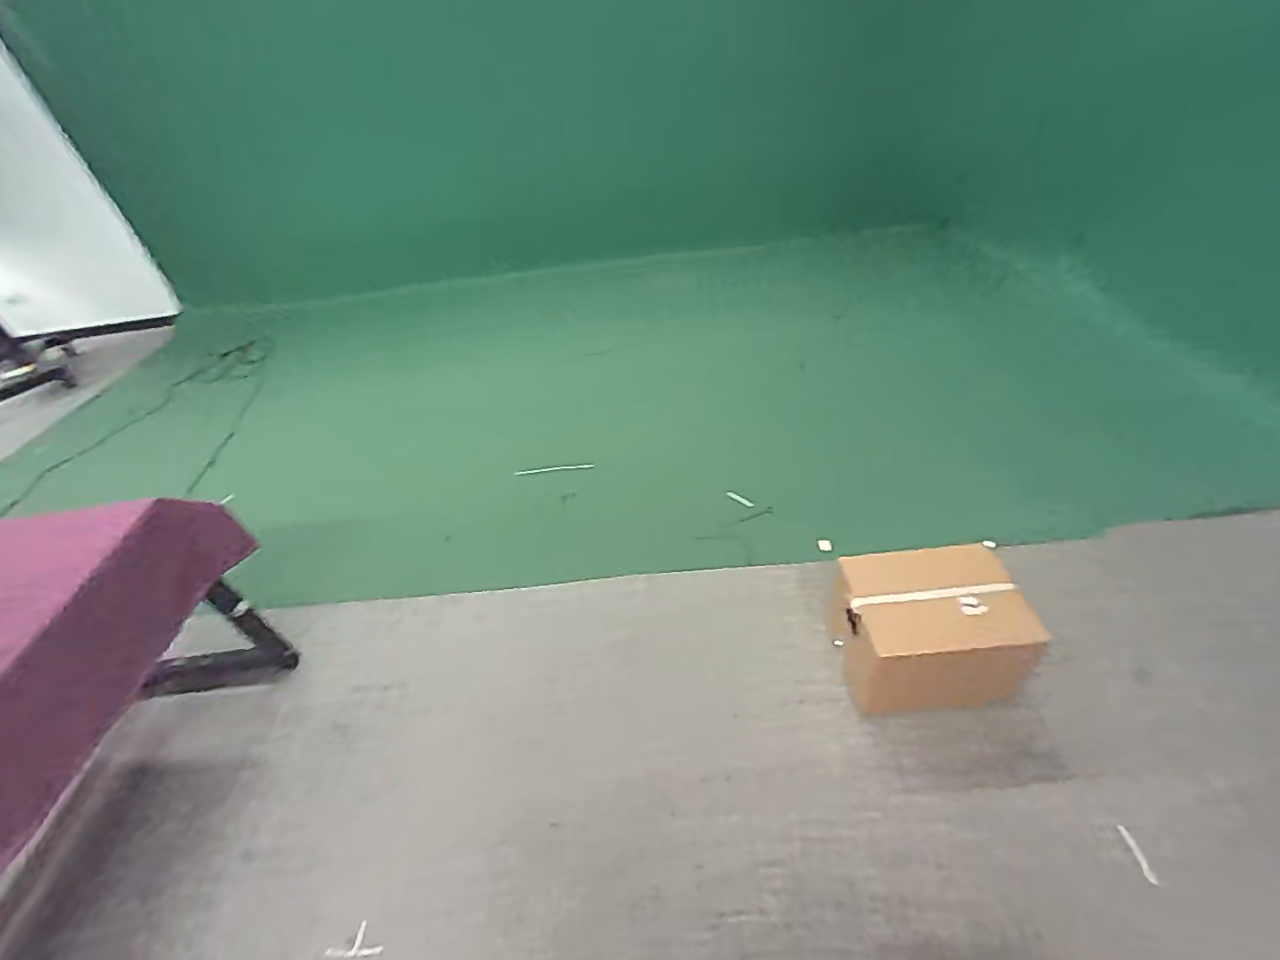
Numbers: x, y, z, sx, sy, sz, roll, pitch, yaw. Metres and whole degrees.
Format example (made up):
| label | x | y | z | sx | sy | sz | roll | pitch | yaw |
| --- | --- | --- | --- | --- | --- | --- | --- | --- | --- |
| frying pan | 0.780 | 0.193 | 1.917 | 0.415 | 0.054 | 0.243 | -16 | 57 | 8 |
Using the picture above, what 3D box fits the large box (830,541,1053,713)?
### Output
| label | x | y | z | sx | sy | sz | roll | pitch | yaw |
| --- | --- | --- | --- | --- | --- | --- | --- | --- | --- |
| large box | 0.777 | 0.401 | 1.472 | 0.408 | 0.320 | 0.320 | -6 | 41 | 3 |
